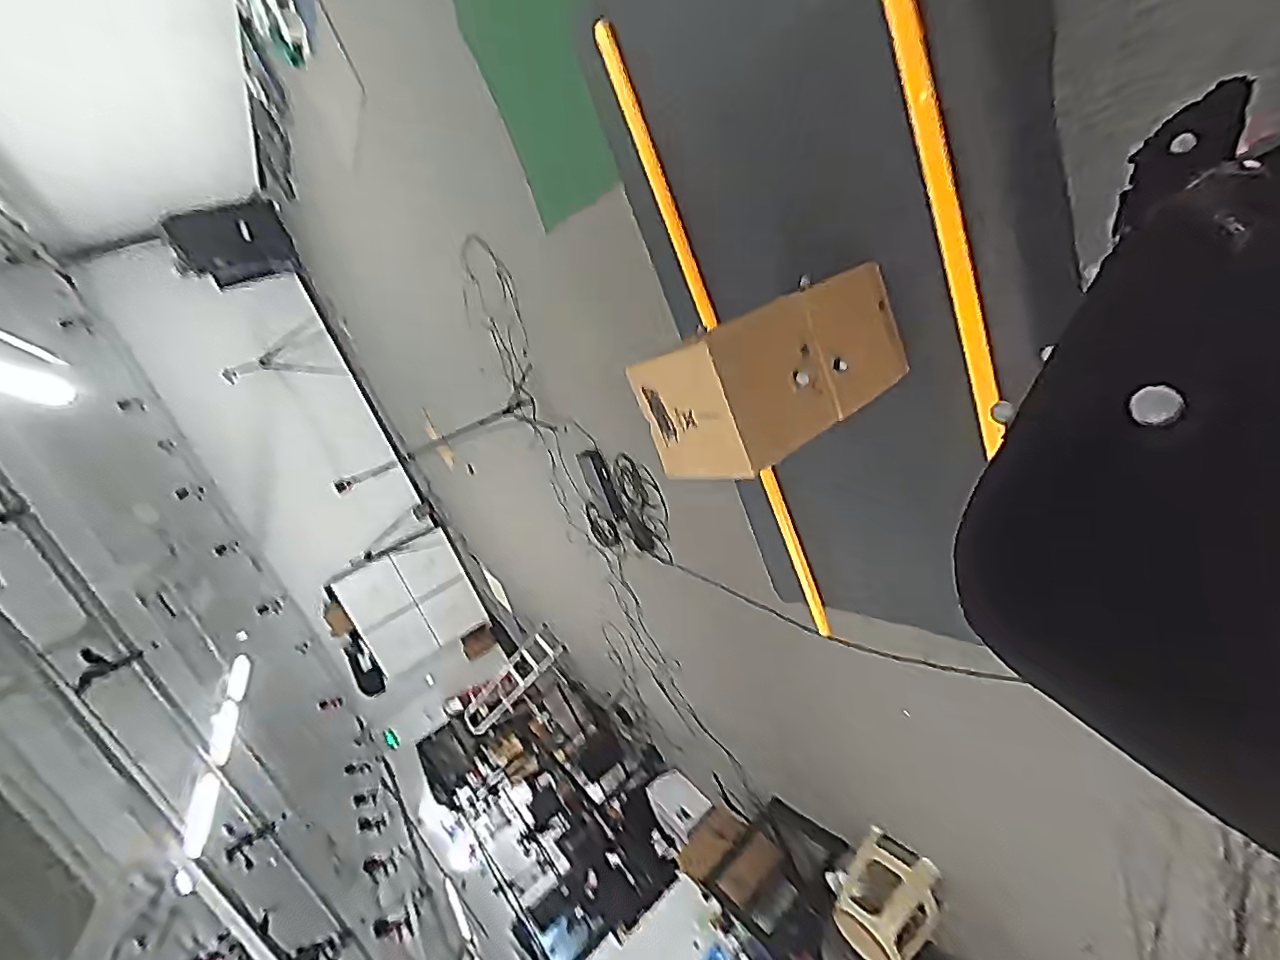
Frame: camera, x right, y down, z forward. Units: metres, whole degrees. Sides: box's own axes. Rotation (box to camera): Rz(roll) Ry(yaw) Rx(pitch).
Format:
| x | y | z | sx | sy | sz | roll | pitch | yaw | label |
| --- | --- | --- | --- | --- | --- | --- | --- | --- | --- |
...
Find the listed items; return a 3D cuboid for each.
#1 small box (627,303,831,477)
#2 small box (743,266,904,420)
| x | y | z | sx | sy | sz | roll | pitch | yaw | label |
| --- | --- | --- | --- | --- | --- | --- | --- | --- | --- |
| 0.117 | -0.114 | 0.717 | 0.179 | 0.176 | 0.168 | 0 | 117 | 58 | small box |
| 0.245 | -0.188 | 0.791 | 0.179 | 0.176 | 0.168 | -2 | 116 | 59 | small box |
